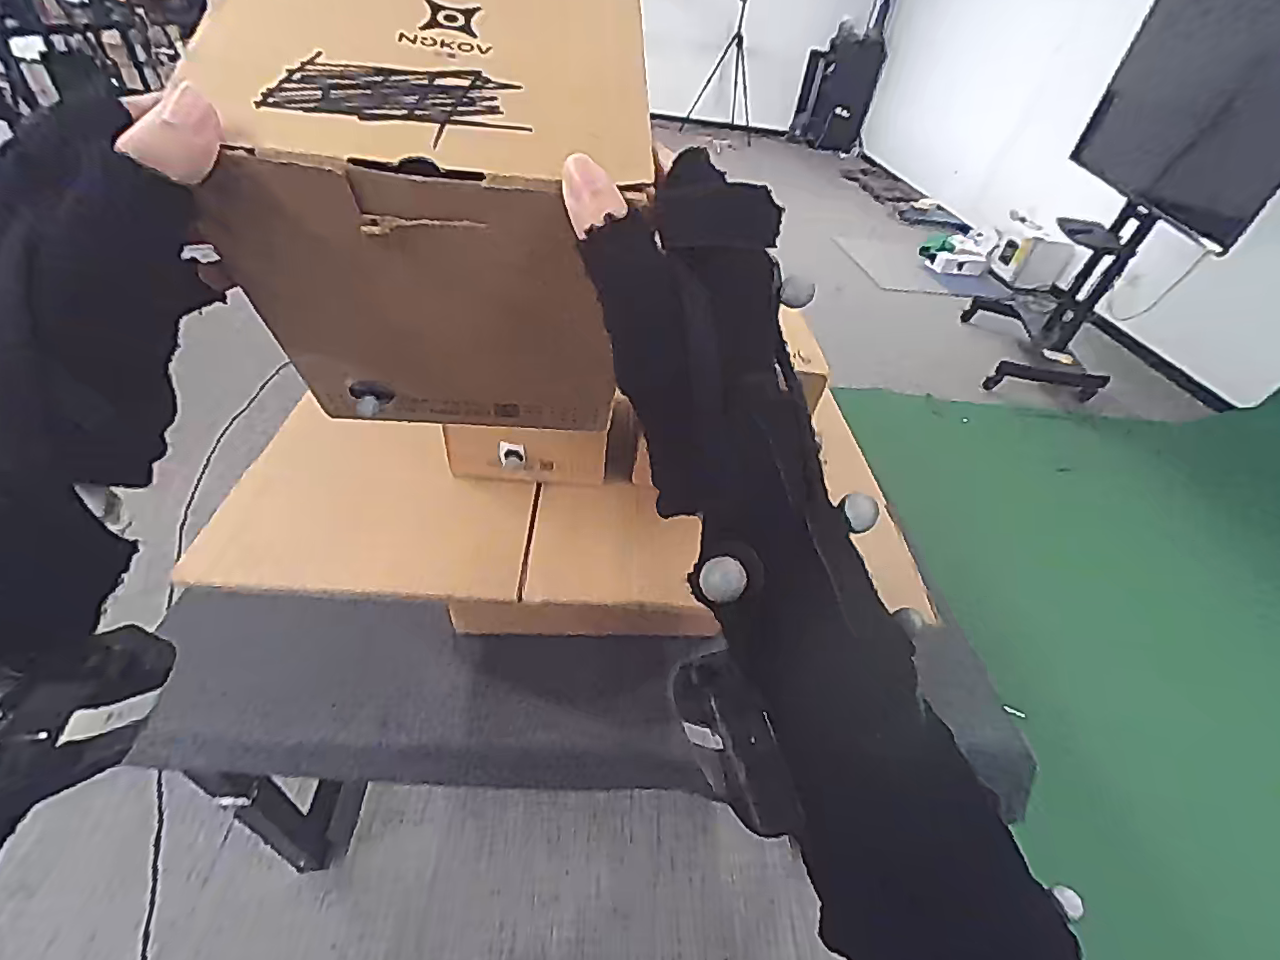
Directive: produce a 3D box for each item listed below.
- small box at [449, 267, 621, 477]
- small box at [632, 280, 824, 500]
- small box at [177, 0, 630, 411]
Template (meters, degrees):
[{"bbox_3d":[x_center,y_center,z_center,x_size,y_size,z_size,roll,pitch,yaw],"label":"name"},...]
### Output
[{"bbox_3d":[-0.110,-0.126,0.589,0.168,0.176,0.179,3,44,-5],"label":"small box"},{"bbox_3d":[0.083,-0.103,0.618,0.168,0.176,0.179,6,41,-6],"label":"small box"},{"bbox_3d":[-0.096,-0.156,0.307,0.168,0.176,0.179,3,62,-8],"label":"small box"}]
